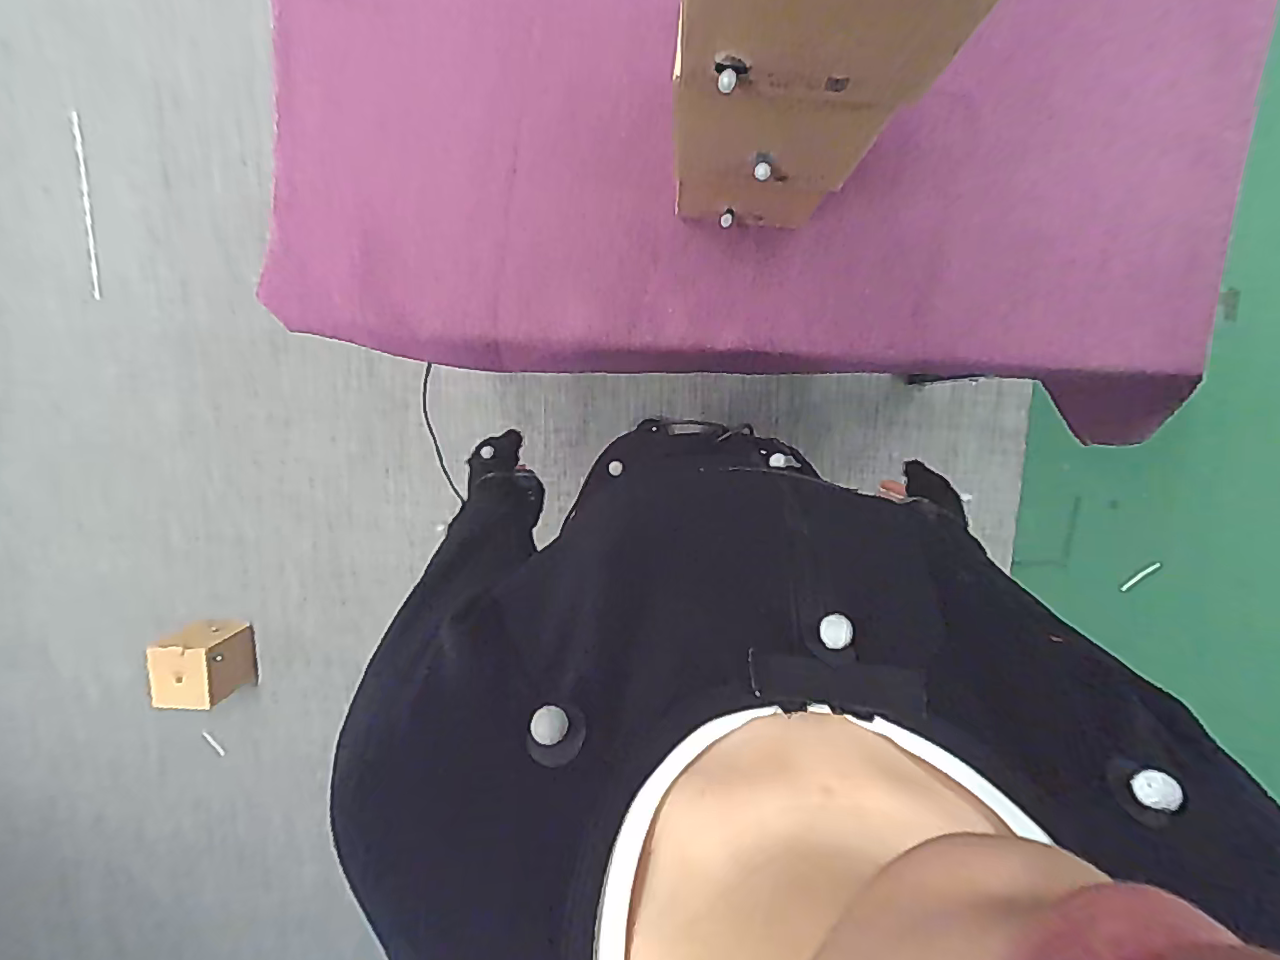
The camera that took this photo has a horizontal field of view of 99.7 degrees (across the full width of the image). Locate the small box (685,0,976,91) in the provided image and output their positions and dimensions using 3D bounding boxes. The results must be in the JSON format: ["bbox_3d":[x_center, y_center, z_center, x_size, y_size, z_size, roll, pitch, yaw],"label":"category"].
[{"bbox_3d":[0.114,-0.346,0.286,0.168,0.176,0.179,6,96,3],"label":"small box"}]

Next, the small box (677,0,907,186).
[{"bbox_3d":[0.120,-0.376,0.448,0.168,0.176,0.179,6,97,3],"label":"small box"}]

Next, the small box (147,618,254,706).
[{"bbox_3d":[-1.226,0.508,1.521,0.168,0.176,0.179,2,97,2],"label":"small box"}]

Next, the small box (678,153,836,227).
[{"bbox_3d":[0.135,-0.411,0.607,0.168,0.176,0.179,7,98,3],"label":"small box"}]
